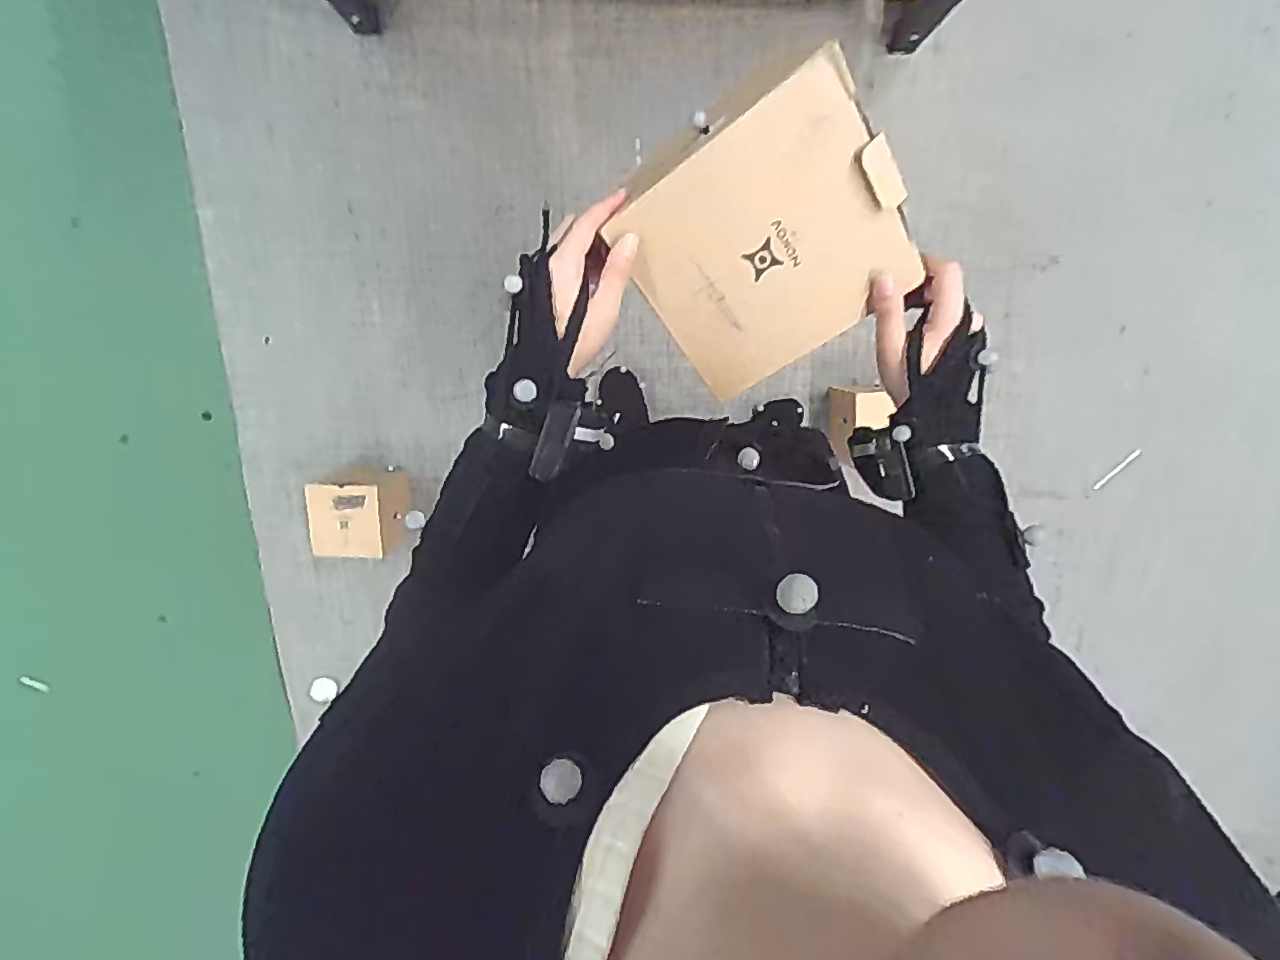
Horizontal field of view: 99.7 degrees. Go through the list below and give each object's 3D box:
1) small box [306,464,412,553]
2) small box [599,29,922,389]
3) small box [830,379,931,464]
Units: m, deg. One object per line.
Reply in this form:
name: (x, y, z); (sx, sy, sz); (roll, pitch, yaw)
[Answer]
small box: (-0.665, 0.062, 1.298); (0.168, 0.176, 0.179); (3, 105, -1)
small box: (0.086, -0.214, 0.439); (0.179, 0.176, 0.168); (-31, 120, 22)
small box: (0.549, -0.141, 1.255); (0.168, 0.176, 0.179); (-5, 103, 1)
